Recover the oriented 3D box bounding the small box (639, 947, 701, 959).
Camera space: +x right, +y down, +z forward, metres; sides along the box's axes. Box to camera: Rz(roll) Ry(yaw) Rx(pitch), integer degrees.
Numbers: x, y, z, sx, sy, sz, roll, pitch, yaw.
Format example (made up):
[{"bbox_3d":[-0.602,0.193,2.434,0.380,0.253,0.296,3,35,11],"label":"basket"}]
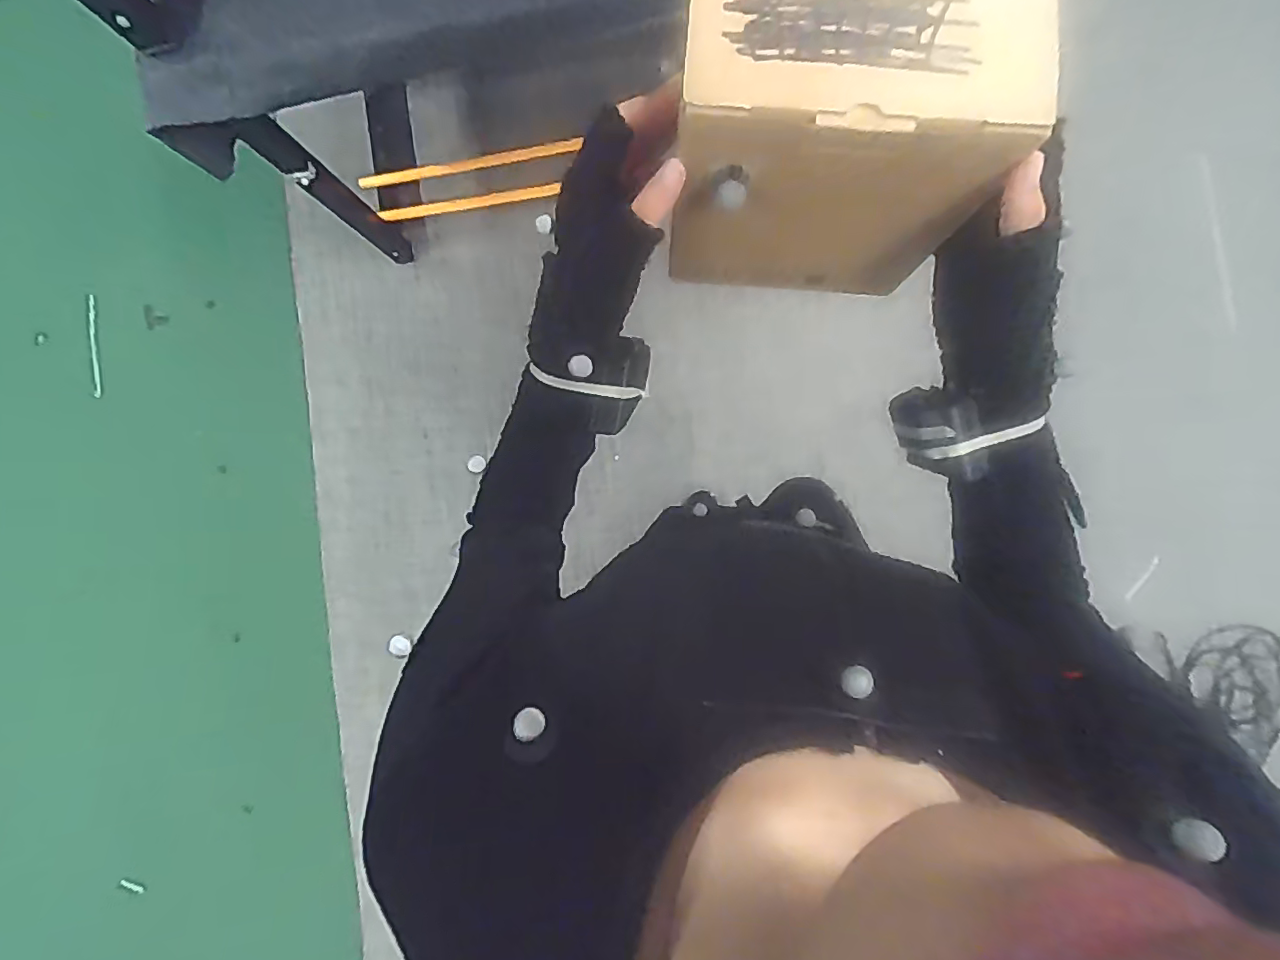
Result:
[{"bbox_3d":[0.082,1.324,1.350,0.168,0.176,0.179,-7,86,3],"label":"small box"}]
